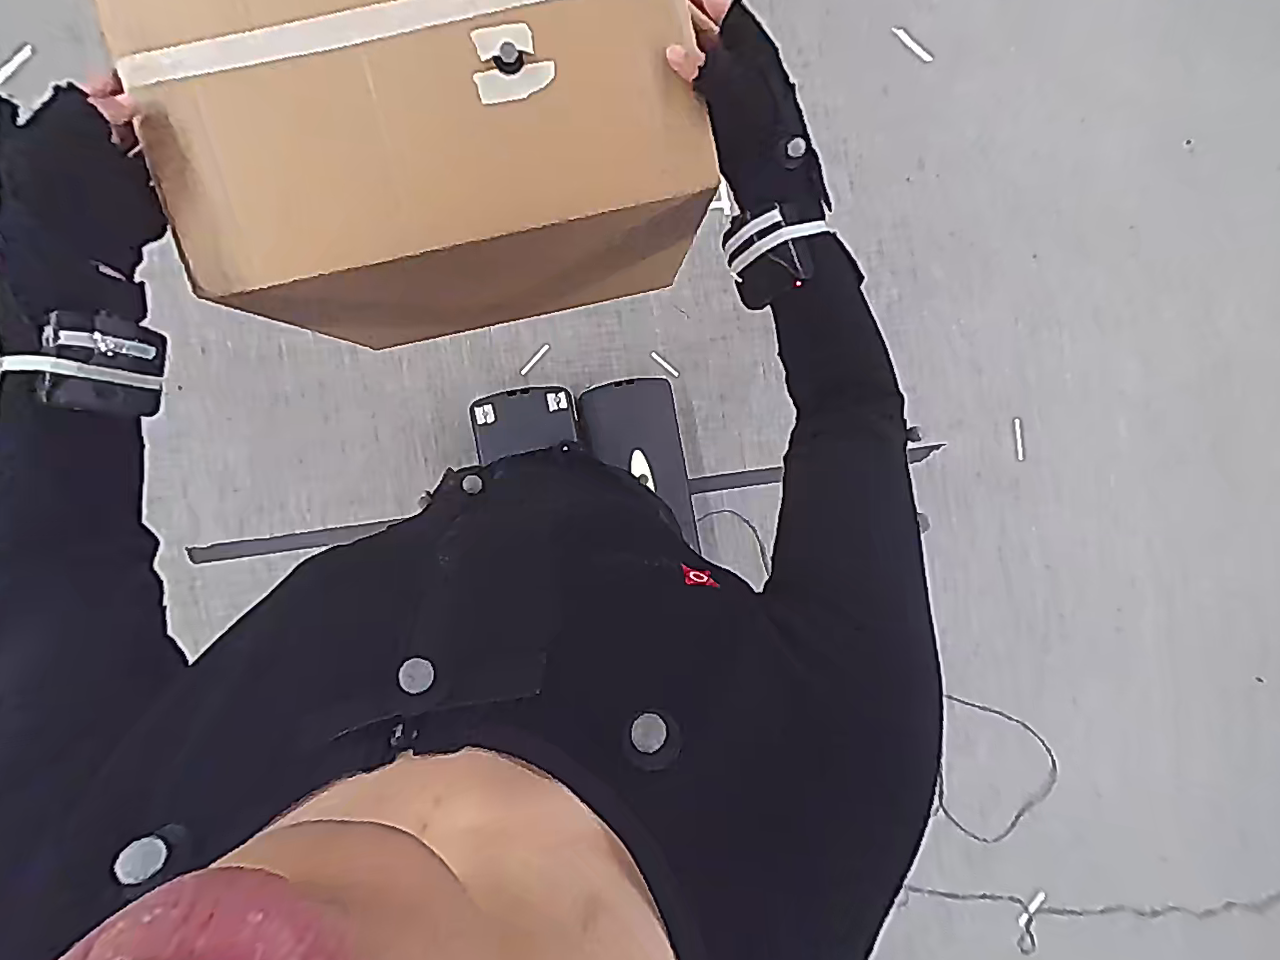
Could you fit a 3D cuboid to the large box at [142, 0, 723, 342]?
[{"bbox_3d":[-0.169,-0.356,0.552,0.408,0.320,0.320,-13,97,-2],"label":"large box"}]
